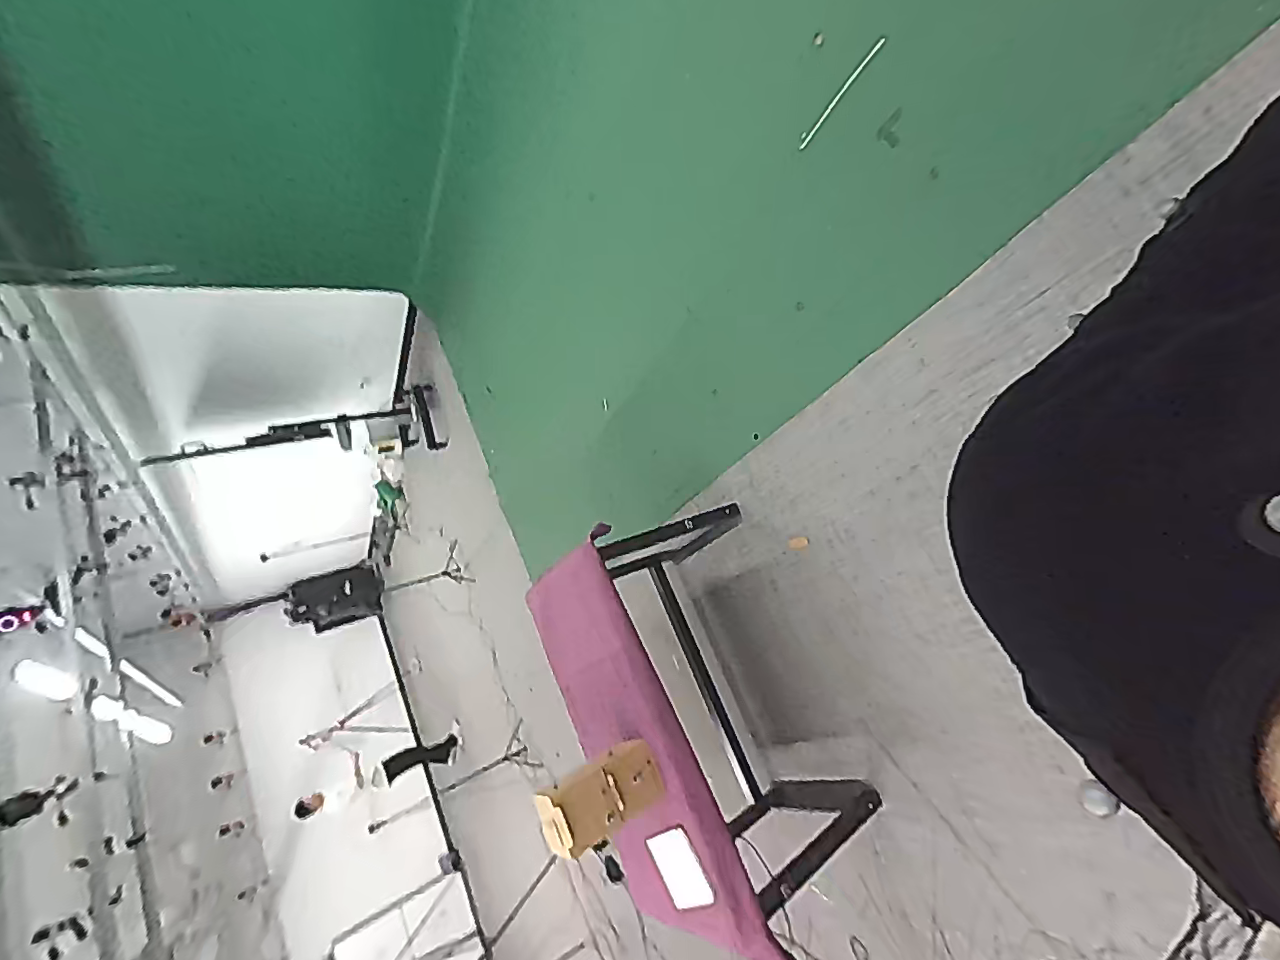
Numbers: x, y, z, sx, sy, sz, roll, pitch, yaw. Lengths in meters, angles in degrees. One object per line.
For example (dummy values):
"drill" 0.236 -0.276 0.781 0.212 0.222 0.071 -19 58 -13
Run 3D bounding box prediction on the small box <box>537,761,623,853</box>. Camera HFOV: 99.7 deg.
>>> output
"small box" -0.168 0.931 1.555 0.179 0.176 0.168 -43 66 53

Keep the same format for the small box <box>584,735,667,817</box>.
"small box" -0.039 0.901 1.655 0.179 0.176 0.168 -42 66 51
